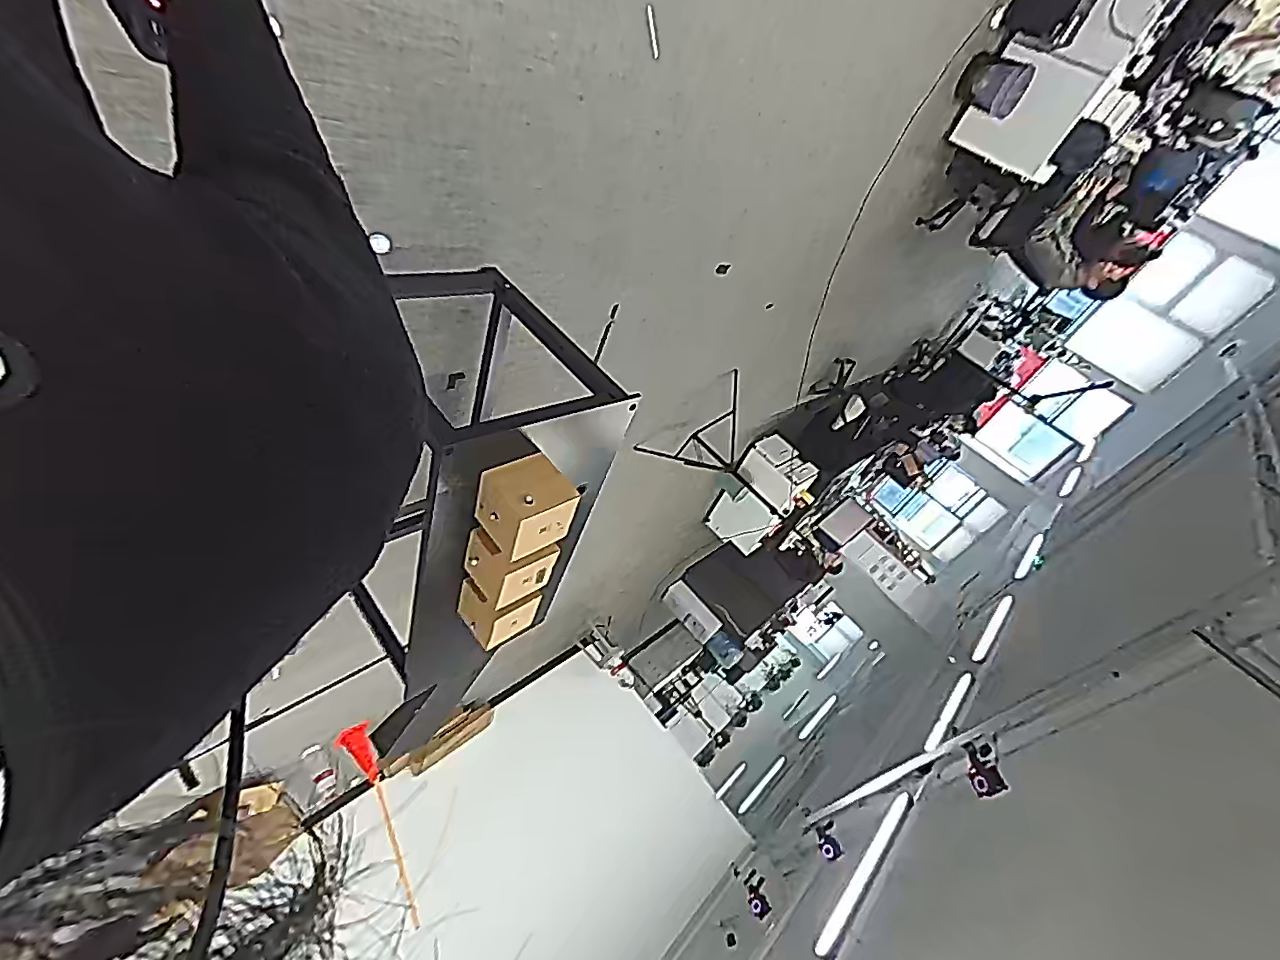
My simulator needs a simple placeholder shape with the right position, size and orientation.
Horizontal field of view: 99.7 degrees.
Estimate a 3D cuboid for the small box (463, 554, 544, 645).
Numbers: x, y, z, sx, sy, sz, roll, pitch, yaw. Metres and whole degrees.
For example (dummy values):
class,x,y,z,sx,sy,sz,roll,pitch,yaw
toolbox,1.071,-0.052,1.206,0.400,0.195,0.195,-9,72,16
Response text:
class,x,y,z,sx,sy,sz,roll,pitch,yaw
small box,-0.421,0.358,1.644,0.168,0.176,0.179,-26,150,-41
